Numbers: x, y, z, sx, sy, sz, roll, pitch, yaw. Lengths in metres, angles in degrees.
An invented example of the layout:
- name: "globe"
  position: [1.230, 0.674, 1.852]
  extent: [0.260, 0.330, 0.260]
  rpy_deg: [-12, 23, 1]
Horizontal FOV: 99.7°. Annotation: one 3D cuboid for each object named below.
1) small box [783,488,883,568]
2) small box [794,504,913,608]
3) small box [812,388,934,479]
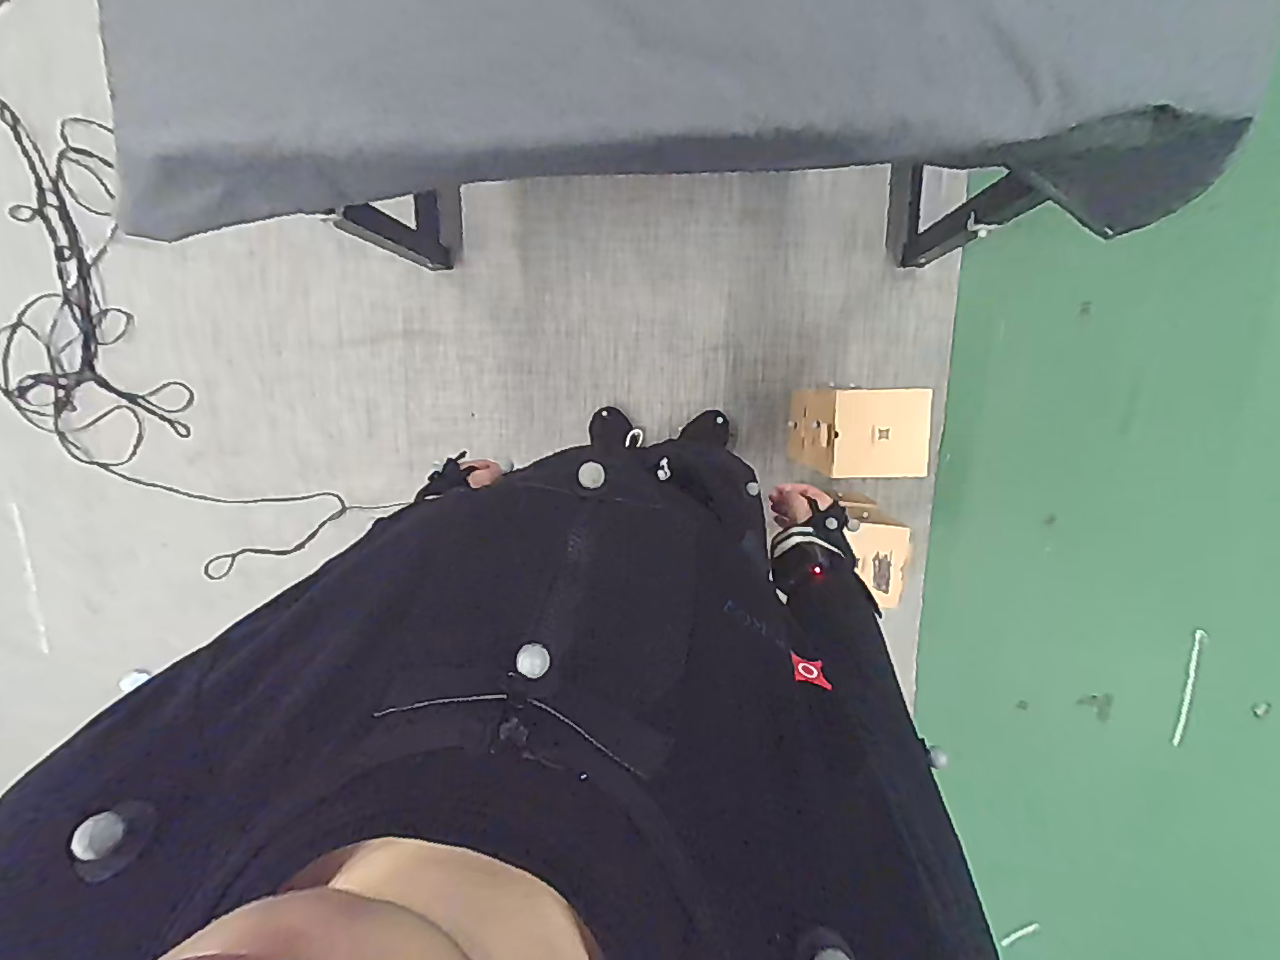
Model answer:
- name: "small box"
  position: [0.447, 0.116, 1.277]
  extent: [0.179, 0.176, 0.168]
  rpy_deg: [6, 99, 6]
- name: "small box"
  position: [0.431, 0.149, 1.116]
  extent: [0.179, 0.176, 0.168]
  rpy_deg: [6, 99, 5]
- name: "small box"
  position: [0.453, -0.098, 1.073]
  extent: [0.179, 0.176, 0.168]
  rpy_deg: [-1, 99, 5]
